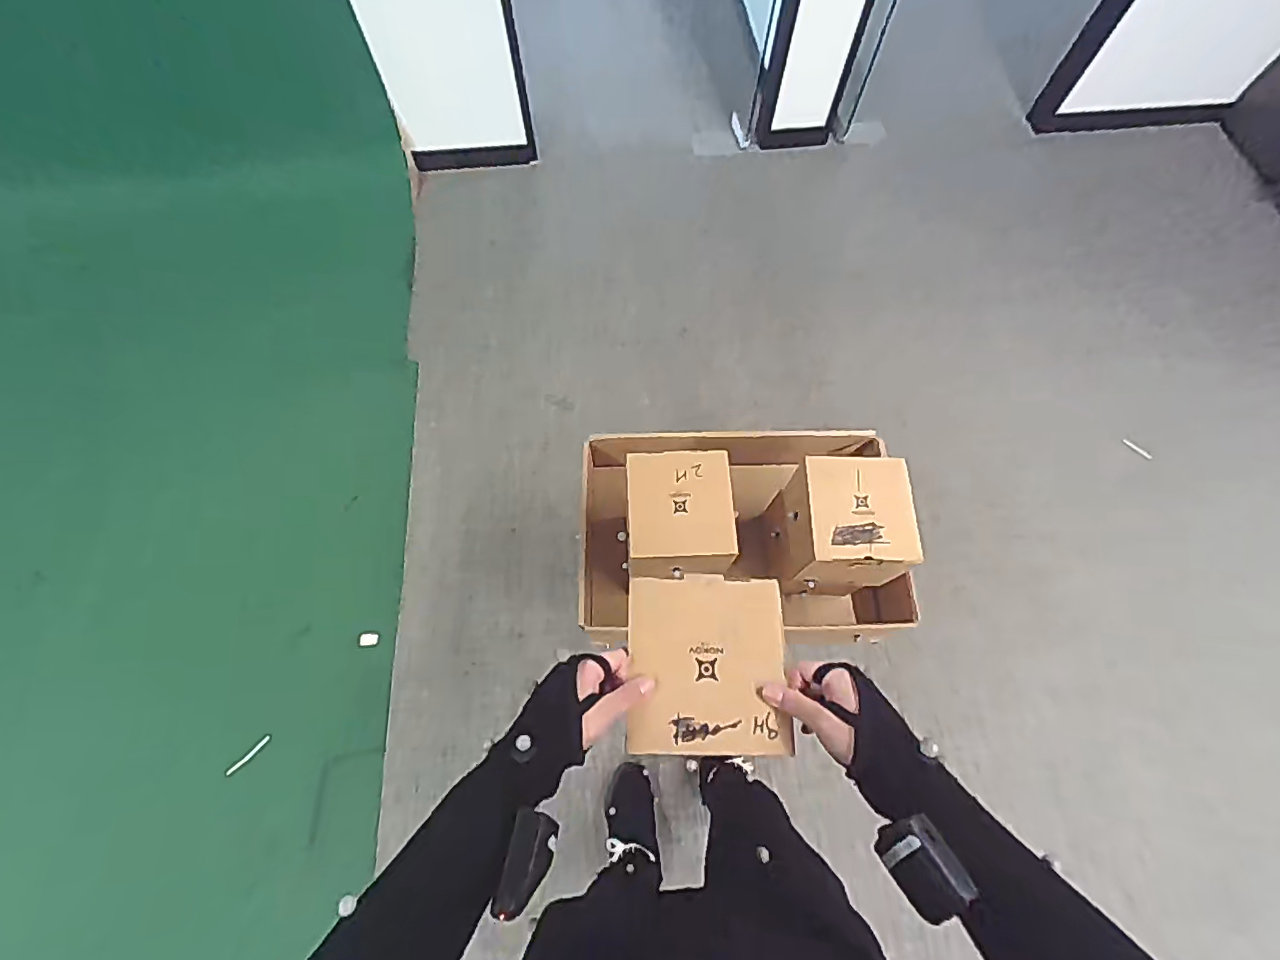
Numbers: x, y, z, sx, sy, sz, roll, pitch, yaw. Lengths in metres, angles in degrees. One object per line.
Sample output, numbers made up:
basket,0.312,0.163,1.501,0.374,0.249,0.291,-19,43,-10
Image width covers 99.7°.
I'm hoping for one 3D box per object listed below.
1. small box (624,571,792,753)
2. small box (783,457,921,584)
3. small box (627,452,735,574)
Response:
small box,0.067,0.216,0.628,0.168,0.176,0.179,1,63,0
small box,0.346,0.075,0.917,0.168,0.176,0.179,1,67,1
small box,0.062,0.065,0.917,0.168,0.176,0.179,-1,69,-1
